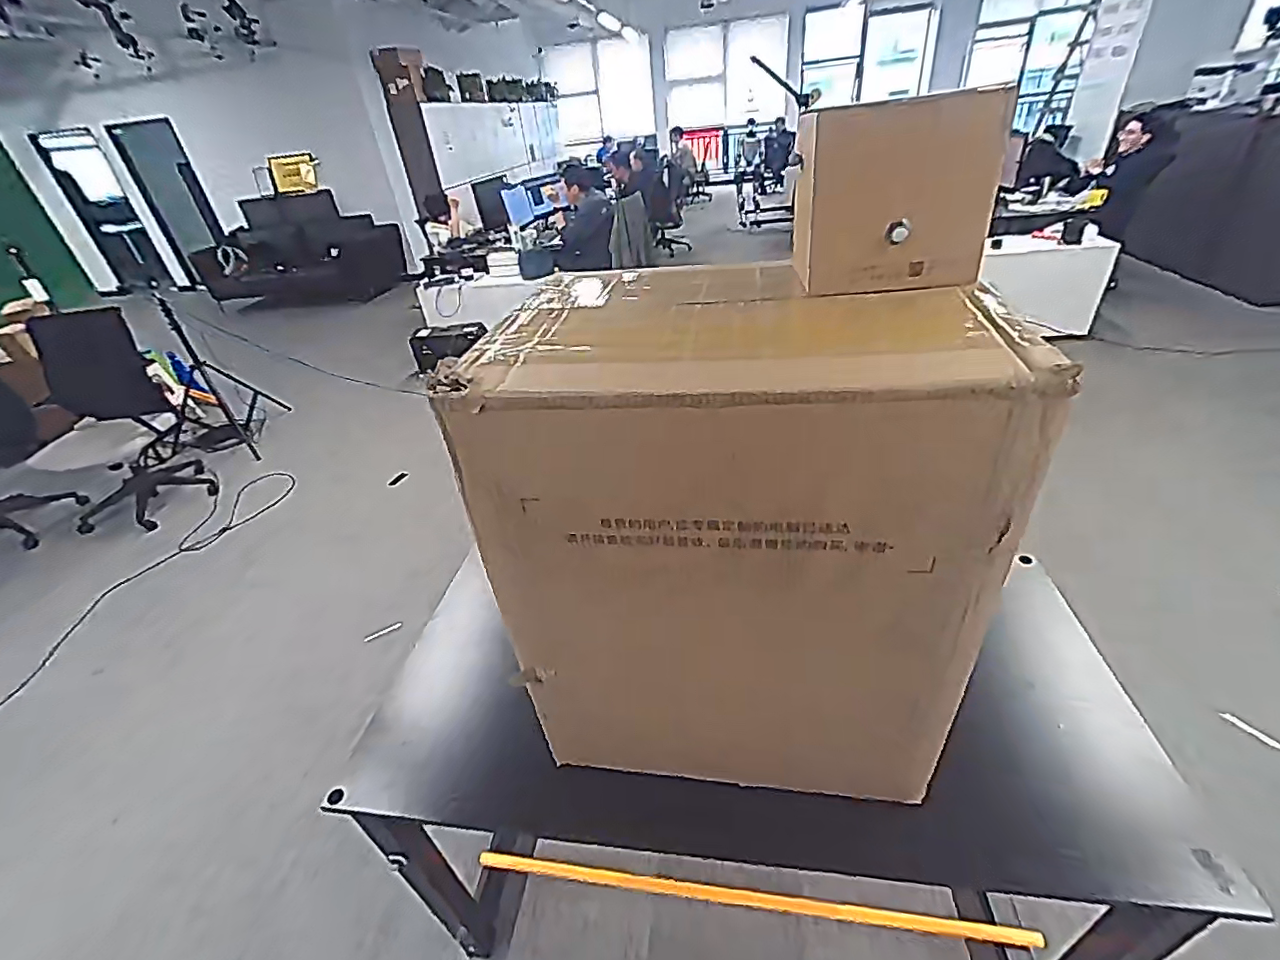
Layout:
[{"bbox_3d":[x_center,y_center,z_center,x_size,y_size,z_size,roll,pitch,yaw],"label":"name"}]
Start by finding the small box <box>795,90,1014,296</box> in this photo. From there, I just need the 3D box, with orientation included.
[{"bbox_3d":[0.262,-0.305,0.588,0.168,0.176,0.179,-1,32,11],"label":"small box"}]
